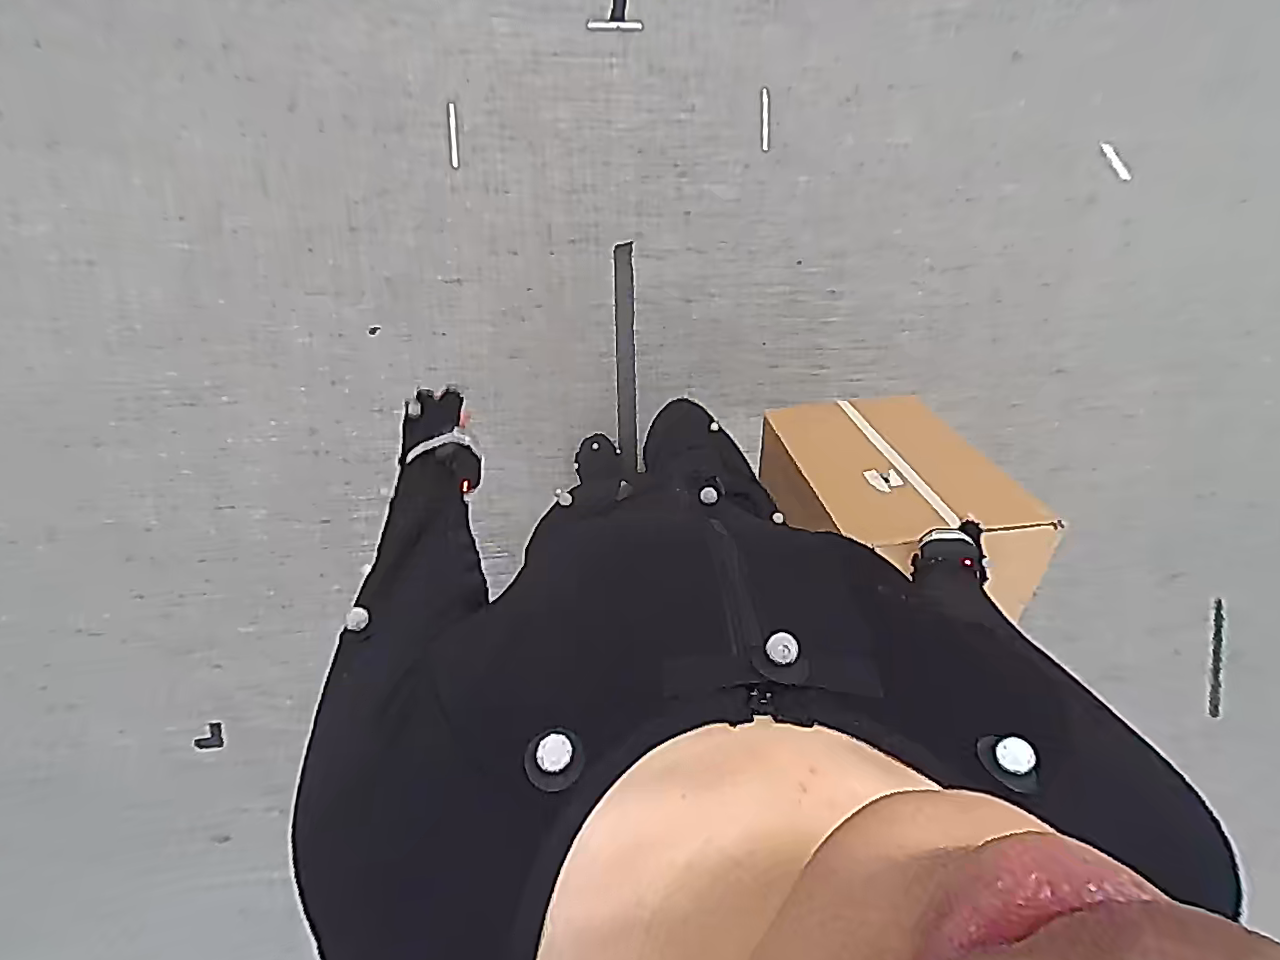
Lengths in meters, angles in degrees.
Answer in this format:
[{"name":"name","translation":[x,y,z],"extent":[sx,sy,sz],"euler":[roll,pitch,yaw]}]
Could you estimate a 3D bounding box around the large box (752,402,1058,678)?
[{"name":"large box","translation":[0.427,0.092,1.006],"extent":[0.320,0.408,0.320],"euler":[-6,127,-4]}]
